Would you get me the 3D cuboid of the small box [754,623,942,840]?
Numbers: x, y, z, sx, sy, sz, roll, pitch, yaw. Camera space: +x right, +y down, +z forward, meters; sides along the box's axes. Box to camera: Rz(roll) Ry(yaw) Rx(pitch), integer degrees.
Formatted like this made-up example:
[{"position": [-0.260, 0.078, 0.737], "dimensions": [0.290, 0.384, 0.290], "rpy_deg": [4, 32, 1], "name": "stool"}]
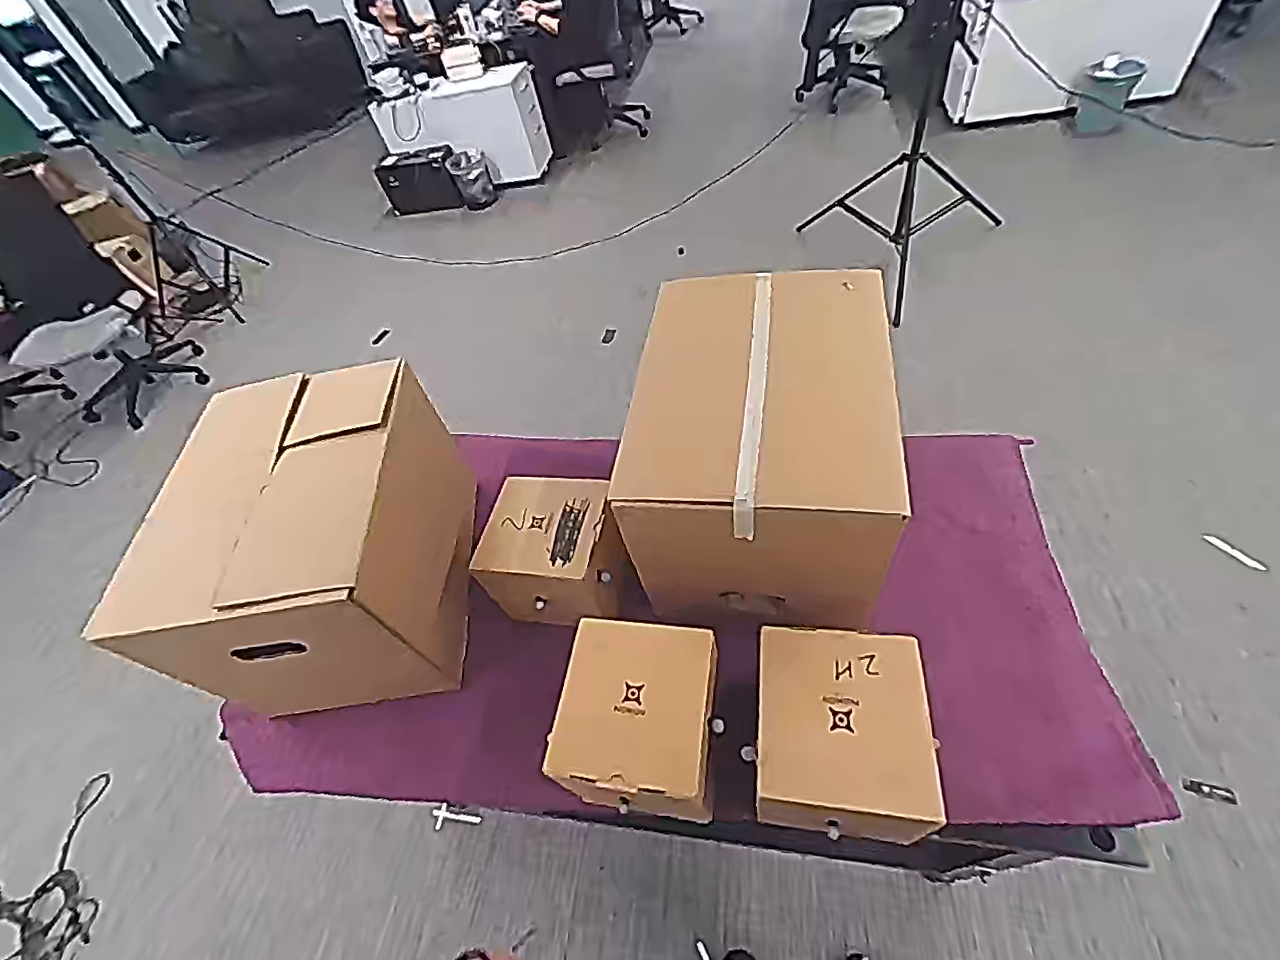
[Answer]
[{"position": [0.218, 0.283, 0.604], "dimensions": [0.168, 0.176, 0.179], "rpy_deg": [2, 51, 14], "name": "small box"}]
